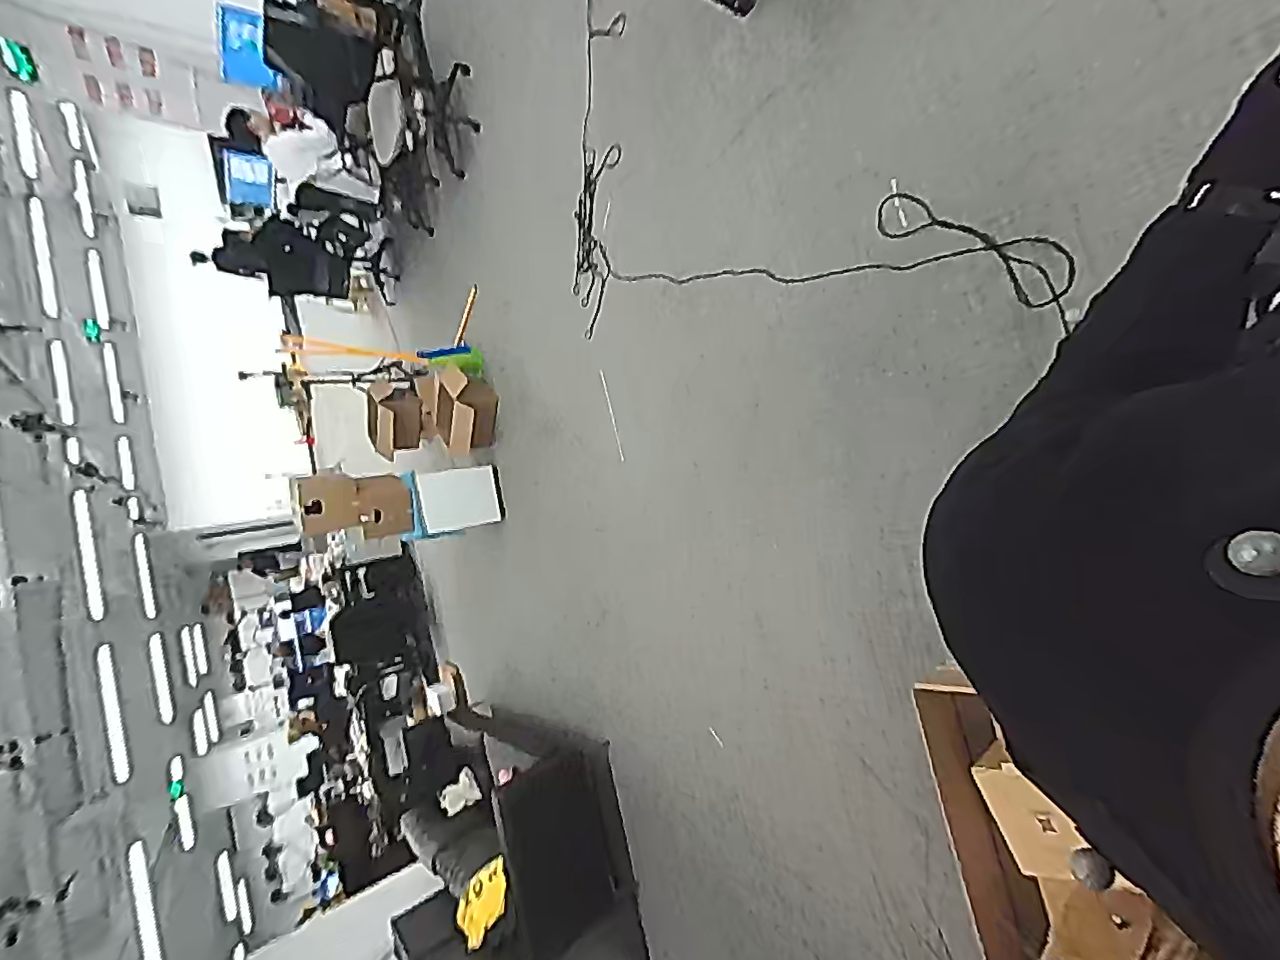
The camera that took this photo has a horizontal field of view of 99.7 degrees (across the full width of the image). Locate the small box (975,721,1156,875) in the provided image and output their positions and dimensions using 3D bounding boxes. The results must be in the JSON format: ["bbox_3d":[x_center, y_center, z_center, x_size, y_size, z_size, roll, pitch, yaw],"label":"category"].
[{"bbox_3d":[0.729,0.531,0.931,0.168,0.176,0.179,-41,66,49],"label":"small box"}]

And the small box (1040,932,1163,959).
[{"bbox_3d":[0.690,0.798,0.767,0.179,0.176,0.168,-27,76,50],"label":"small box"}]
